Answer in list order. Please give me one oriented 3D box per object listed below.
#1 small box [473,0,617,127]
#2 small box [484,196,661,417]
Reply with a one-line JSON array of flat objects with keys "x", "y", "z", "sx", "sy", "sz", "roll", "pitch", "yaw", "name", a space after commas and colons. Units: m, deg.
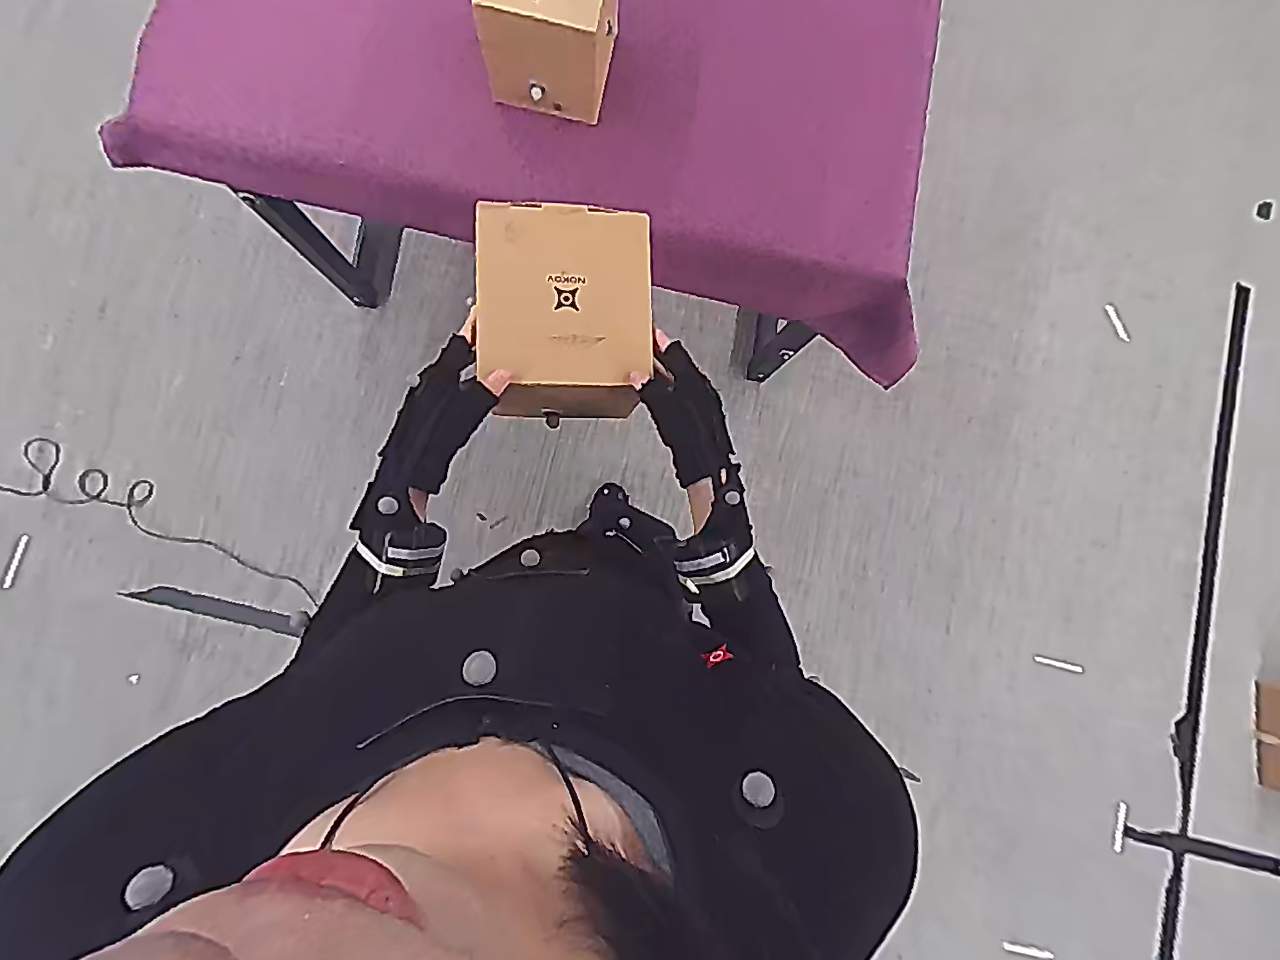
[{"x": -0.126, "y": -0.664, "z": 0.780, "sx": 0.168, "sy": 0.176, "sz": 0.179, "roll": 11, "pitch": 84, "yaw": -4, "name": "small box"}, {"x": -0.076, "y": -0.172, "z": 0.585, "sx": 0.168, "sy": 0.176, "sz": 0.179, "roll": -2, "pitch": 86, "yaw": -9, "name": "small box"}]
